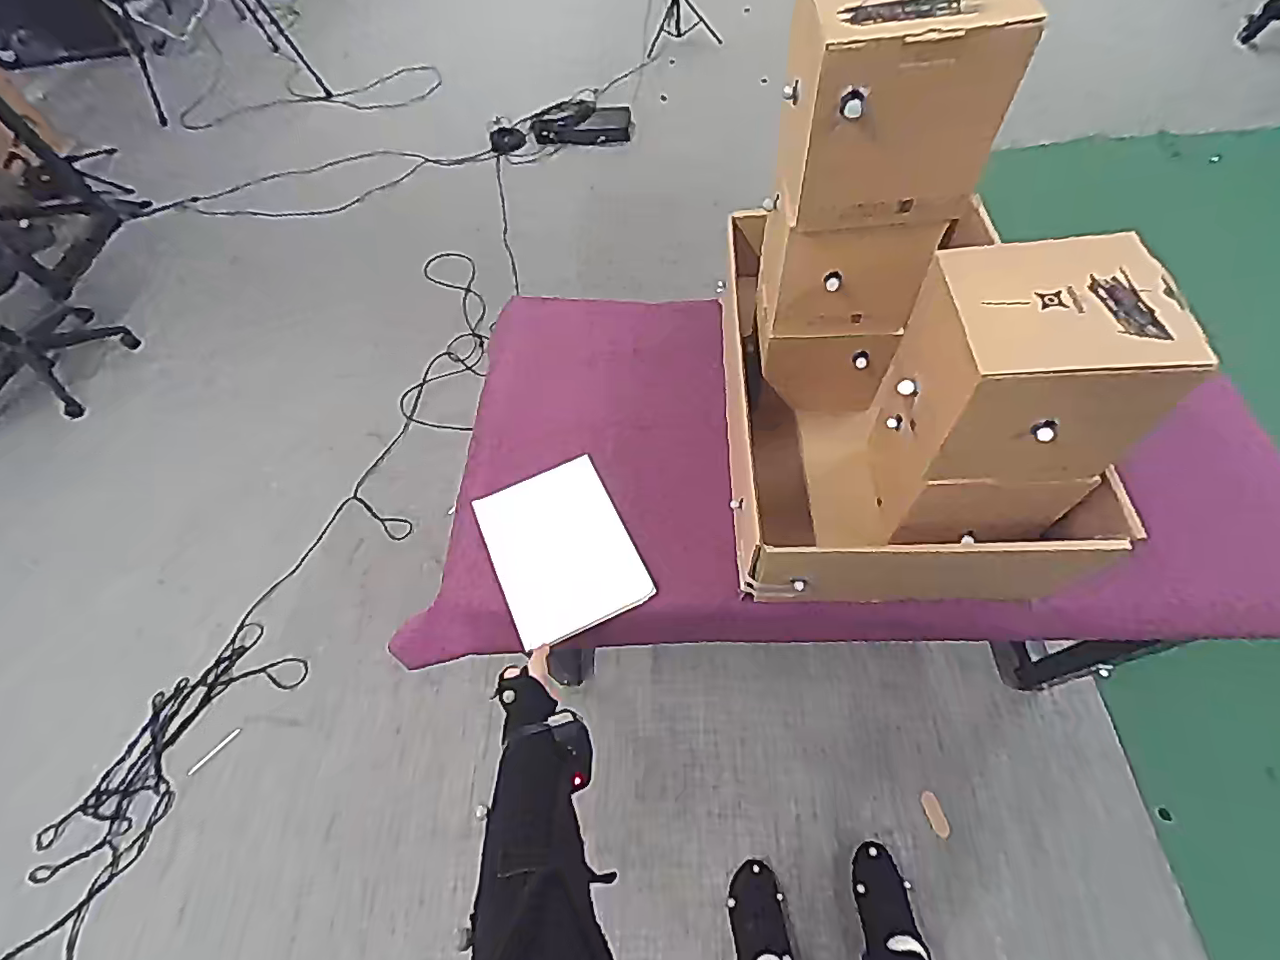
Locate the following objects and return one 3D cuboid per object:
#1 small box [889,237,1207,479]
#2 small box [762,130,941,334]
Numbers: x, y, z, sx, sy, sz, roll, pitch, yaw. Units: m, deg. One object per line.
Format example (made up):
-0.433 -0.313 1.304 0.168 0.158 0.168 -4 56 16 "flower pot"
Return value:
0.373 -0.112 0.540 0.179 0.176 0.168 -2 57 9 "small box"
0.246 -0.299 0.679 0.168 0.176 0.179 -1 60 7 "small box"
